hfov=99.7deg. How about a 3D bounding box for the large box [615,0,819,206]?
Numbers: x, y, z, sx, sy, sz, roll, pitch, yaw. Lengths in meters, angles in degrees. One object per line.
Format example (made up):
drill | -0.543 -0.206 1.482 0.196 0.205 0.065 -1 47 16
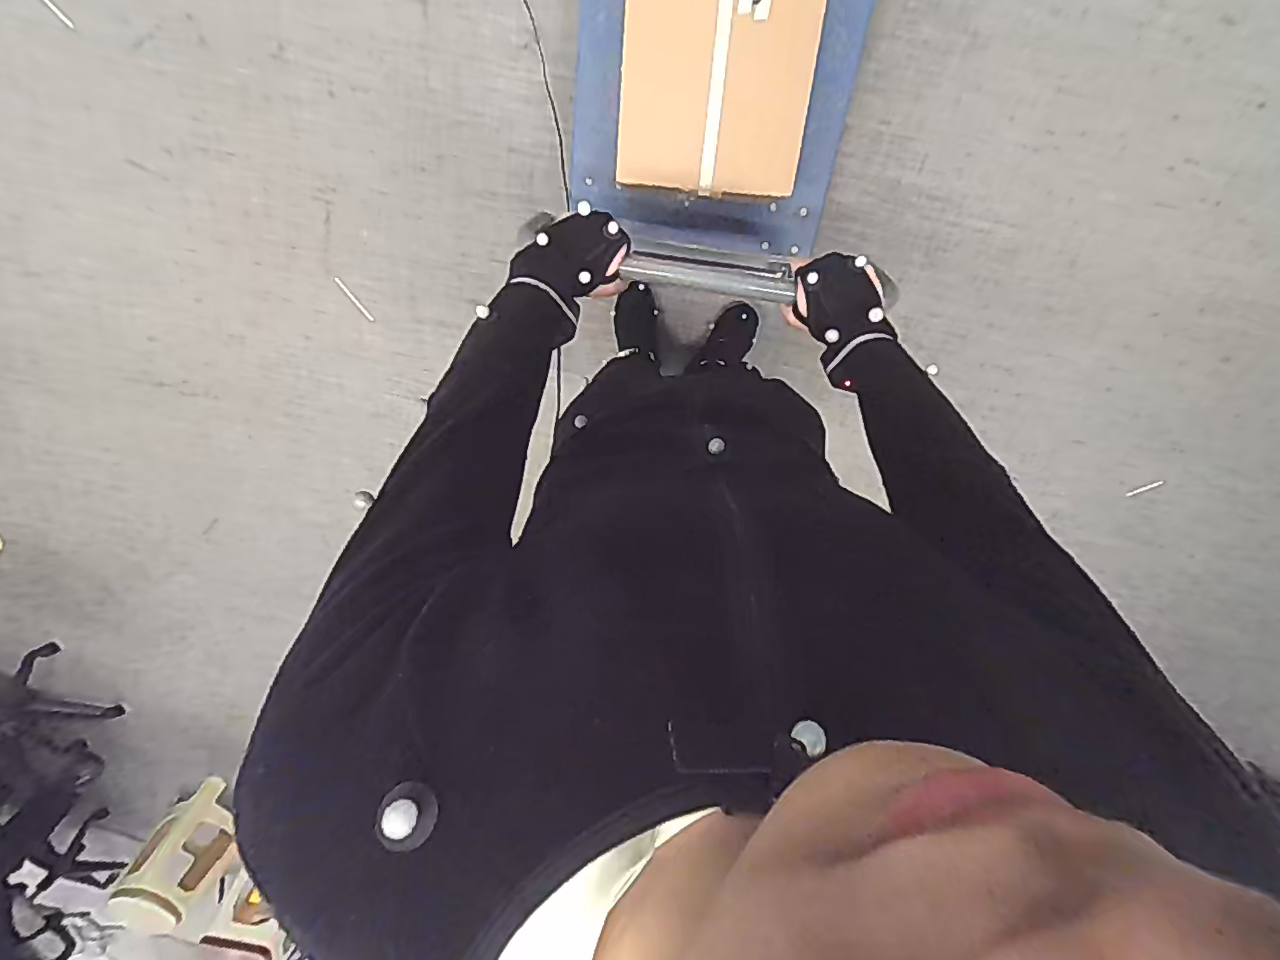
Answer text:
large box | 0.131 -0.751 1.015 0.320 0.320 0.408 5 115 1
